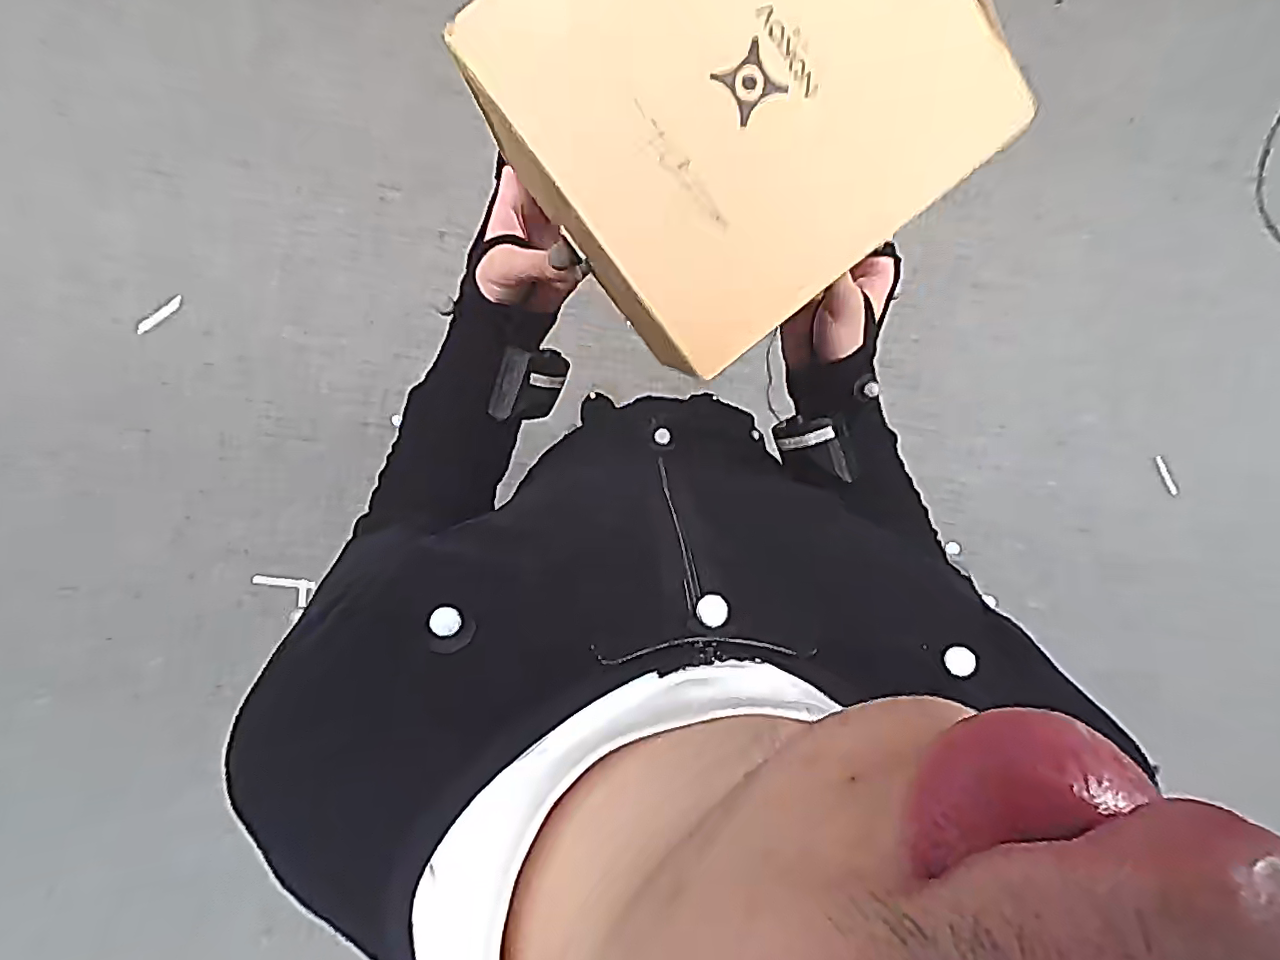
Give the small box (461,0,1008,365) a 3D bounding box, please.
[{"bbox_3d":[0.037,-0.184,0.299,0.179,0.176,0.168,-40,103,6],"label":"small box"}]
